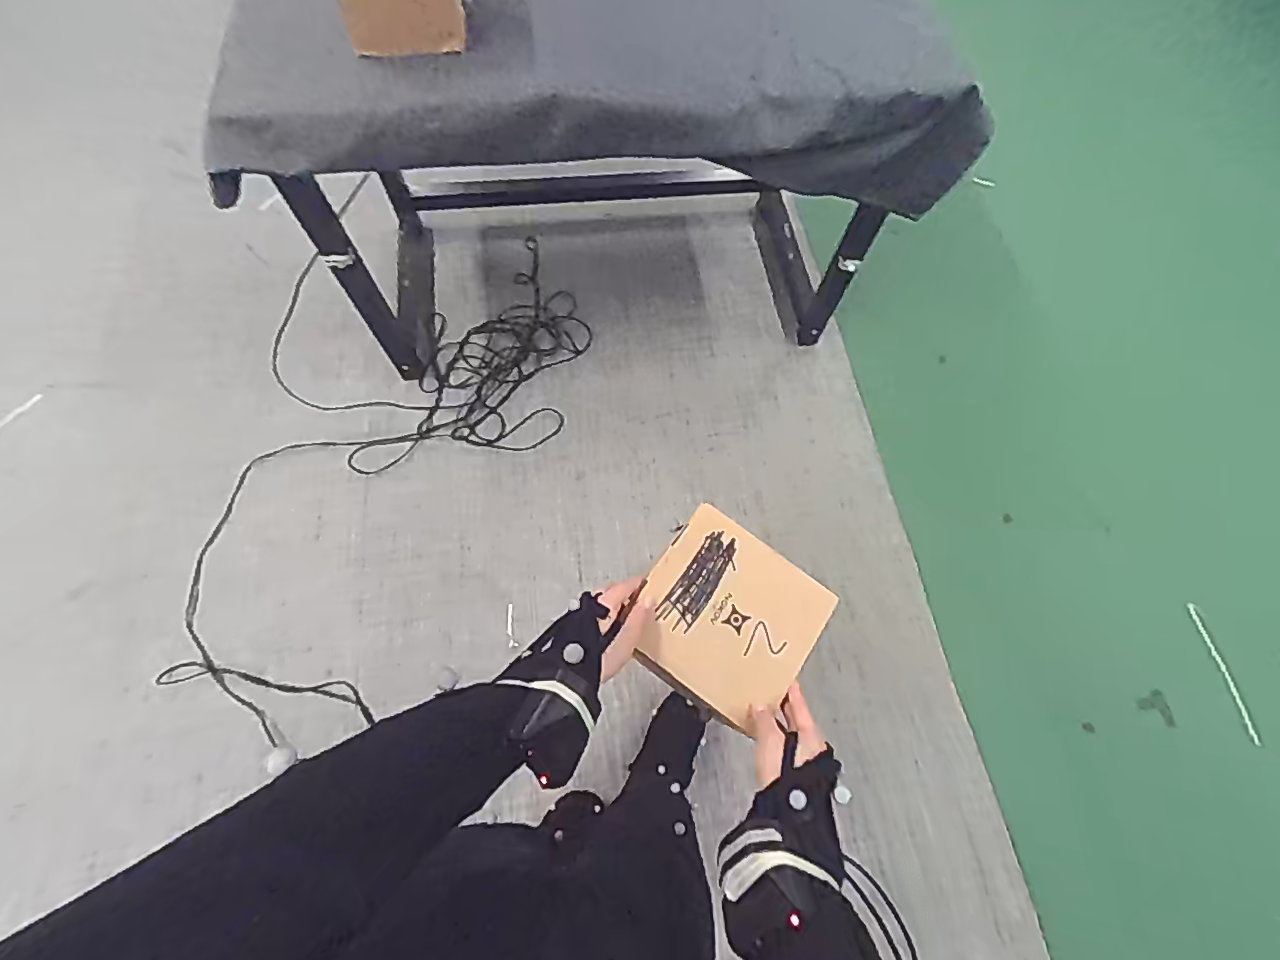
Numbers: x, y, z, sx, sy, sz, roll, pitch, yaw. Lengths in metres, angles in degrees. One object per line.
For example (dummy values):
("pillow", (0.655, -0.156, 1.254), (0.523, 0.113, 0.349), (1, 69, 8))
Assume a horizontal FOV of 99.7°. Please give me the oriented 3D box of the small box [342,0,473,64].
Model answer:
("small box", (-0.366, -0.778, 0.831), (0.179, 0.176, 0.168), (-6, 69, -7))
